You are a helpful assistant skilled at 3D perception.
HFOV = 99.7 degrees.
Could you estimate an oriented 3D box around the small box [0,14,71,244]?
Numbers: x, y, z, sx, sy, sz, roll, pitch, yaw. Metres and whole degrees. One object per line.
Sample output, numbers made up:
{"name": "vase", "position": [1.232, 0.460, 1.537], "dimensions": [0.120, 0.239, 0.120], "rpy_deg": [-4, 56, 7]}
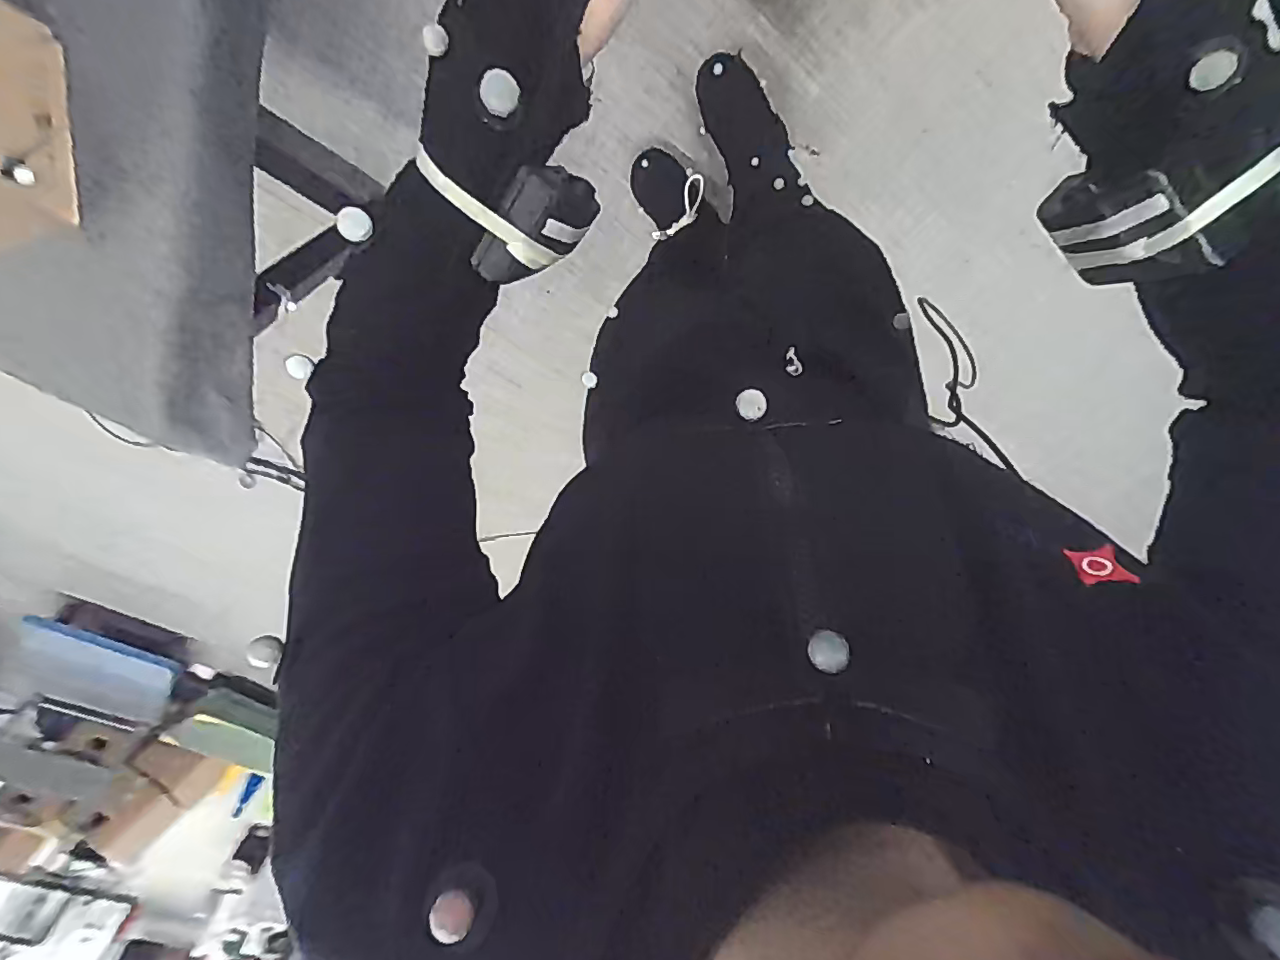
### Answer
{"name": "small box", "position": [-0.566, -0.268, 0.371], "dimensions": [0.179, 0.176, 0.168], "rpy_deg": [26, 129, -18]}
